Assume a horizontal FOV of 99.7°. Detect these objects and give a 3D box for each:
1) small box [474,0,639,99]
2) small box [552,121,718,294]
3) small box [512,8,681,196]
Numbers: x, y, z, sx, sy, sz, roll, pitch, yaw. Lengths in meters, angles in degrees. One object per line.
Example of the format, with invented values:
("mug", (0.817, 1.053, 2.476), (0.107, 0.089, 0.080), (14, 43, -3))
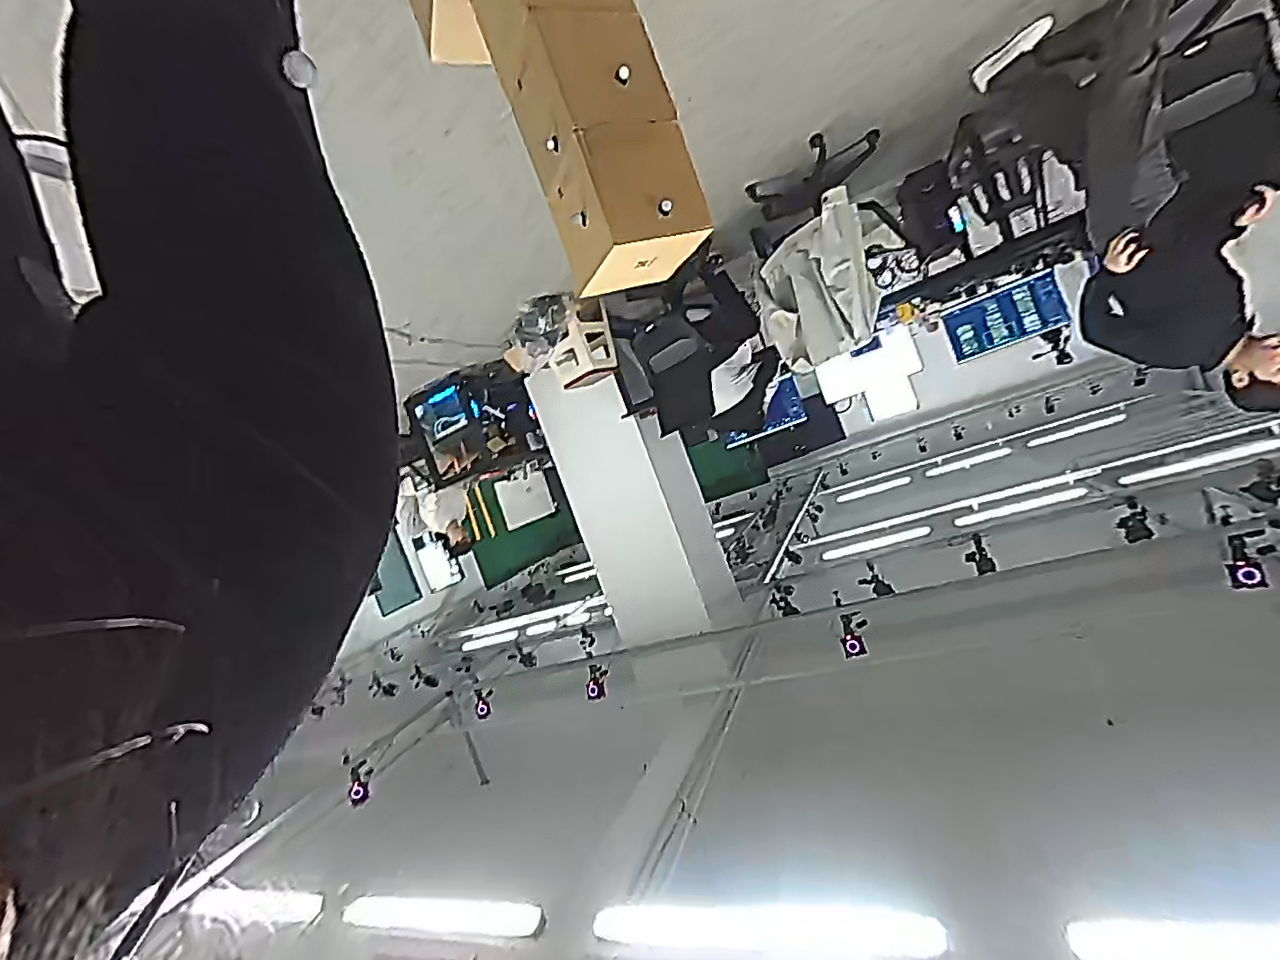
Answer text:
("small box", (-0.133, -0.720, 0.816), (0.179, 0.176, 0.168), (-21, -178, -24))
("small box", (-0.017, -0.414, 0.830), (0.179, 0.176, 0.168), (-22, -178, -24))
("small box", (-0.071, -0.568, 0.822), (0.179, 0.176, 0.168), (-22, -178, -24))
